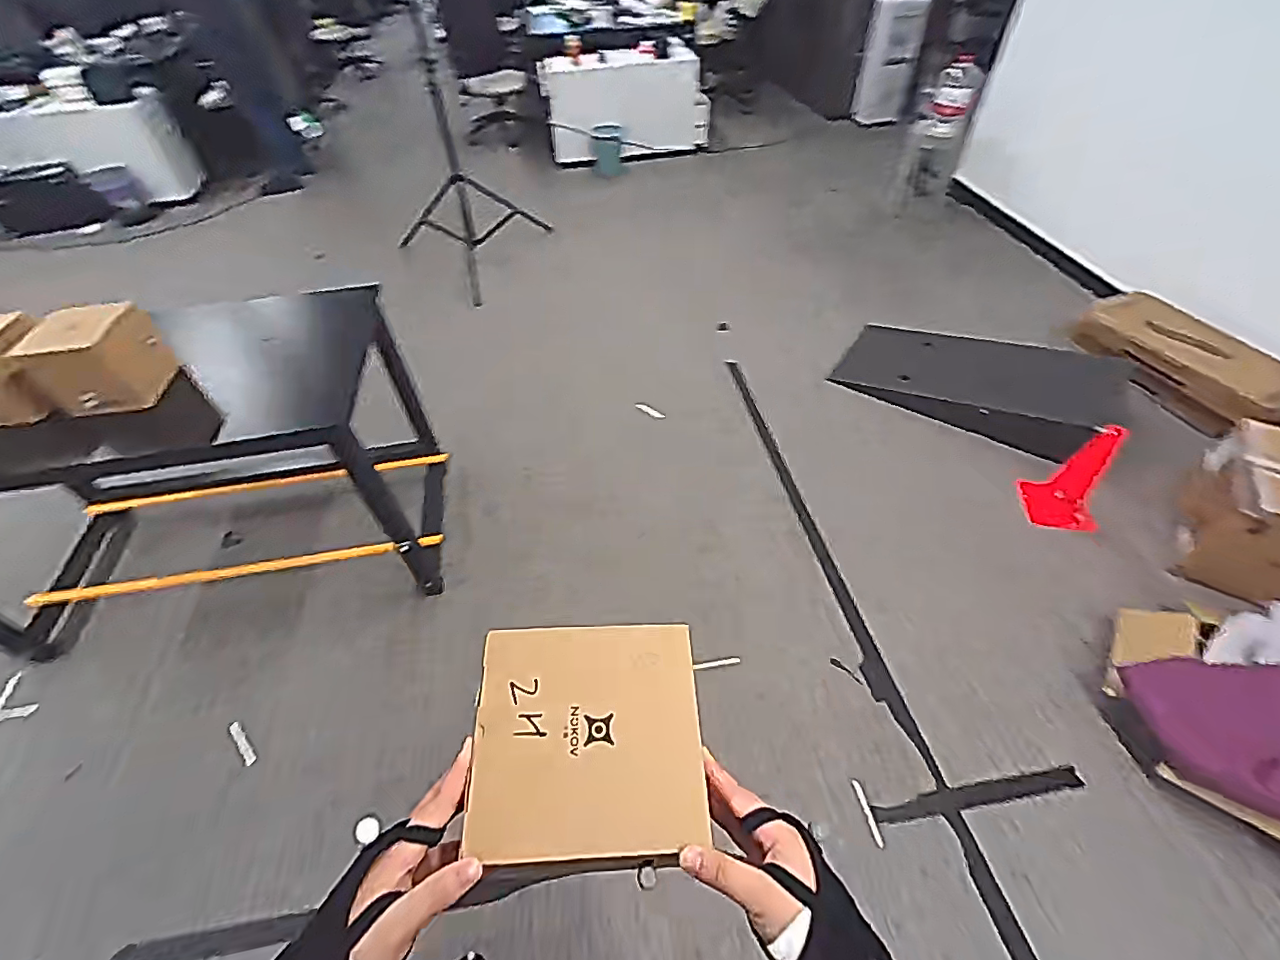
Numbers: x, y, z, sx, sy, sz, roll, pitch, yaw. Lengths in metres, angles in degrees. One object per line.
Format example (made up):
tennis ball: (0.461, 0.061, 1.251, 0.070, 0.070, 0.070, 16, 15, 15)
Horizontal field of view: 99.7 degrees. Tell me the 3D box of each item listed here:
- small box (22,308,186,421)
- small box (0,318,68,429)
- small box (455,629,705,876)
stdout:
small box: (-1.171, -0.256, 1.204, 0.168, 0.176, 0.179, -9, 49, -4)
small box: (-1.394, -0.226, 1.185, 0.168, 0.176, 0.179, -8, 49, -5)
small box: (-0.048, 0.246, 0.485, 0.179, 0.176, 0.168, -2, 51, -4)
